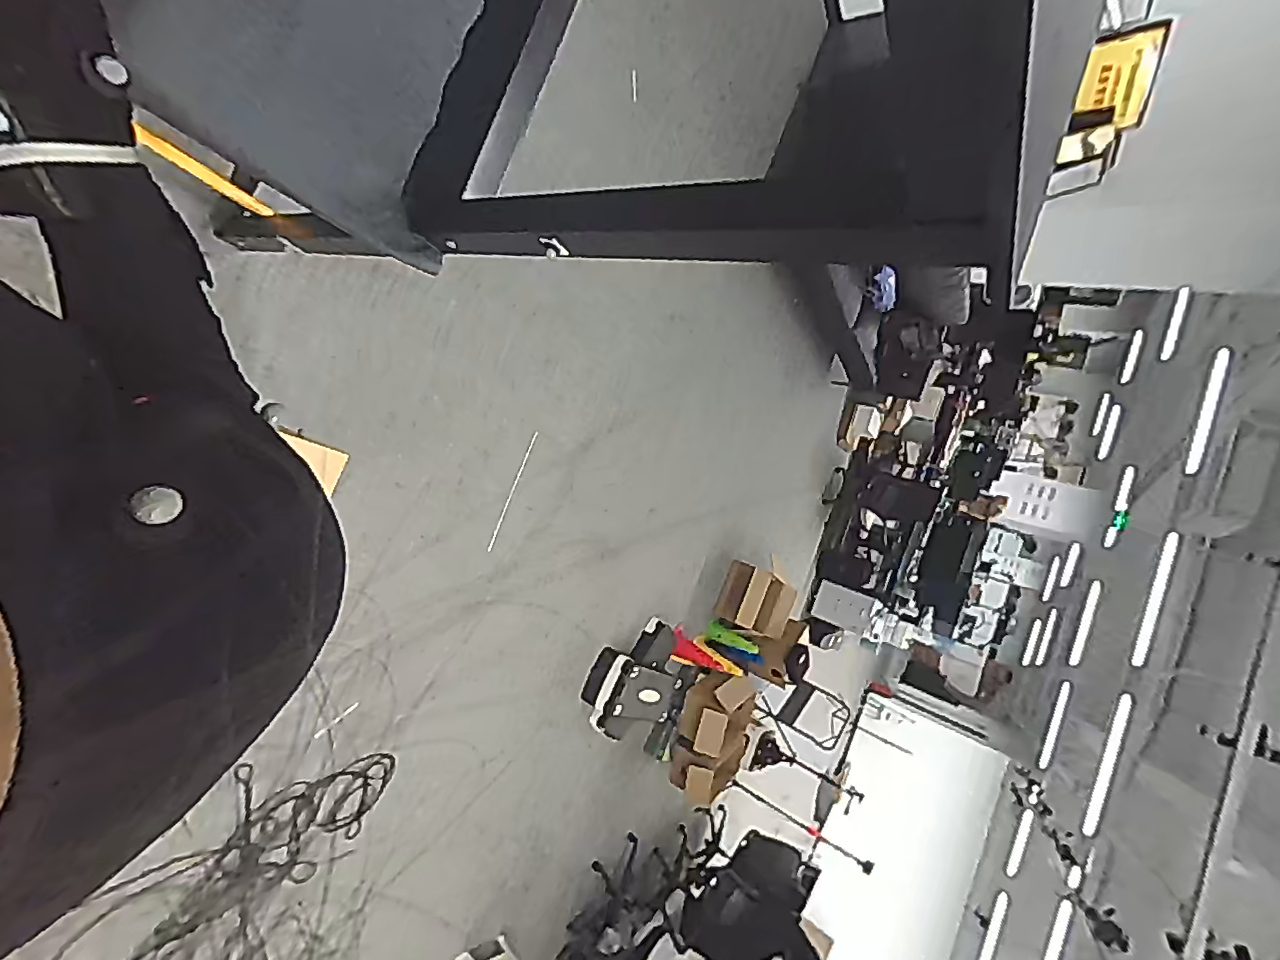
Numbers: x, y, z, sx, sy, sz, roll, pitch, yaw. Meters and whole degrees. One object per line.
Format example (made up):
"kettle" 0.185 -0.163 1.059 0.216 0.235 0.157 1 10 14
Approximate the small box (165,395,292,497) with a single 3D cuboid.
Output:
"small box" -0.812 -0.054 1.087 0.168 0.176 0.179 24 84 -56

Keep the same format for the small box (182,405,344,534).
"small box" -0.688 -0.021 0.985 0.168 0.176 0.179 28 81 -55
